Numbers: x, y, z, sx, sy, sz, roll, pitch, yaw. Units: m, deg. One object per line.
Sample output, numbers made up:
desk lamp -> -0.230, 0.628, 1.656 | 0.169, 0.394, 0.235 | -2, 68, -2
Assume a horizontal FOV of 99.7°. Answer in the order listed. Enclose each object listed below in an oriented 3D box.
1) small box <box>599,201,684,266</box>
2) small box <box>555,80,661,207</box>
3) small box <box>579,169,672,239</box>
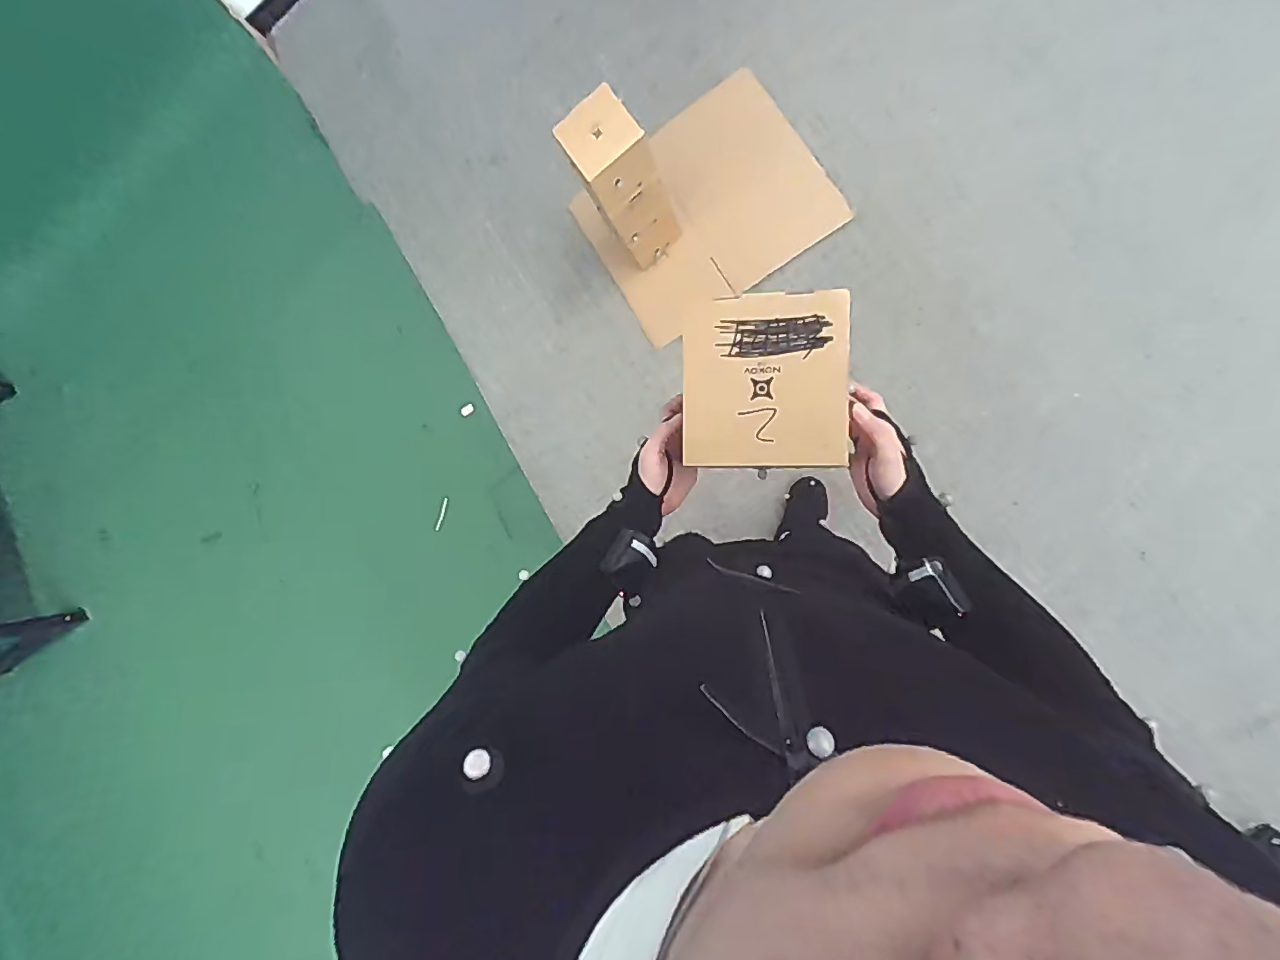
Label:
small box -> 0.010, -0.788, 1.637 | 0.168, 0.176, 0.179 | -39, 79, 10
small box -> -0.071, -0.804, 1.322 | 0.168, 0.176, 0.179 | -35, 79, 11
small box -> -0.033, -0.794, 1.479 | 0.168, 0.176, 0.179 | -36, 79, 11
